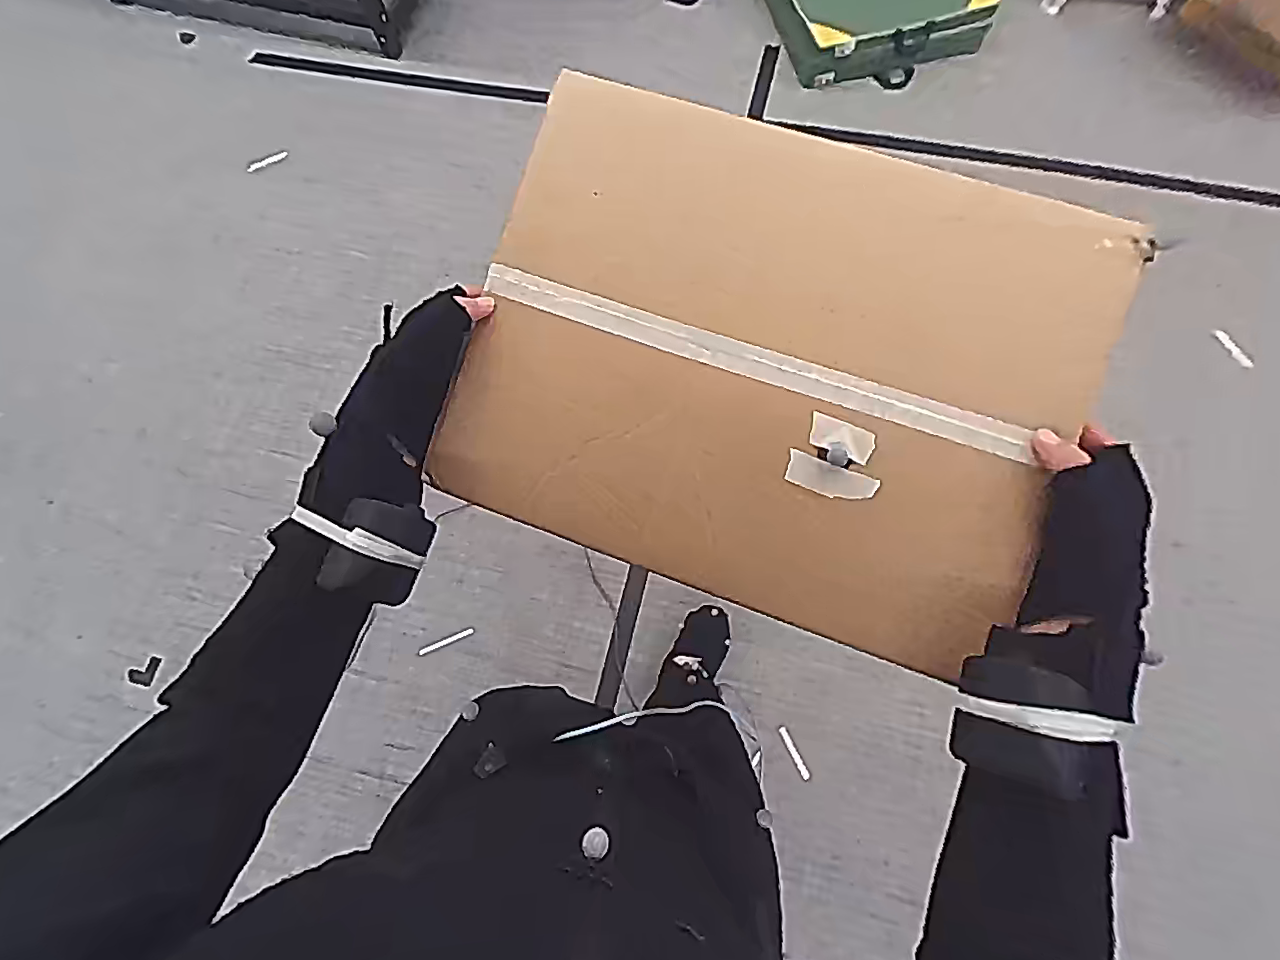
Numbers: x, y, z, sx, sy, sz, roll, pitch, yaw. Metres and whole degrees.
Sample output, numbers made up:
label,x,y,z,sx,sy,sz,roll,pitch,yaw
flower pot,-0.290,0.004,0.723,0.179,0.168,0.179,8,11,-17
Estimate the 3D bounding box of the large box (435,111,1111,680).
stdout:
label,x,y,z,sx,sy,sz,roll,pitch,yaw
large box,0.093,-0.066,0.527,0.408,0.320,0.320,19,91,6
